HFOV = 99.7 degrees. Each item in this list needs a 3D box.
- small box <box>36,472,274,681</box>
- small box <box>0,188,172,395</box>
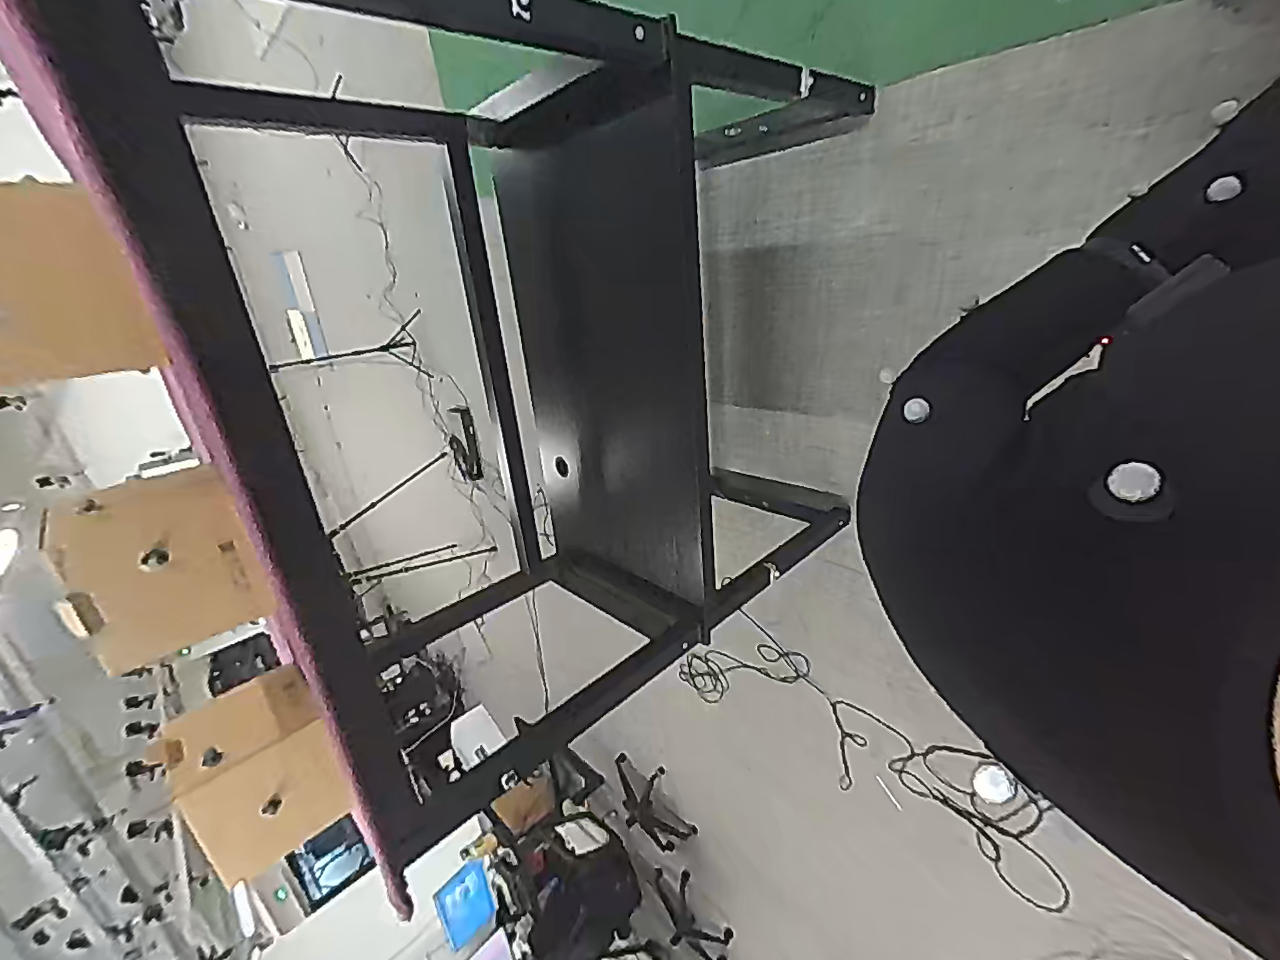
[{"bbox_3d":[-0.577,0.101,0.663,0.179,0.176,0.168,19,121,44],"label":"small box"},{"bbox_3d":[-0.615,-0.190,0.555,0.168,0.176,0.179,18,121,47],"label":"small box"}]
